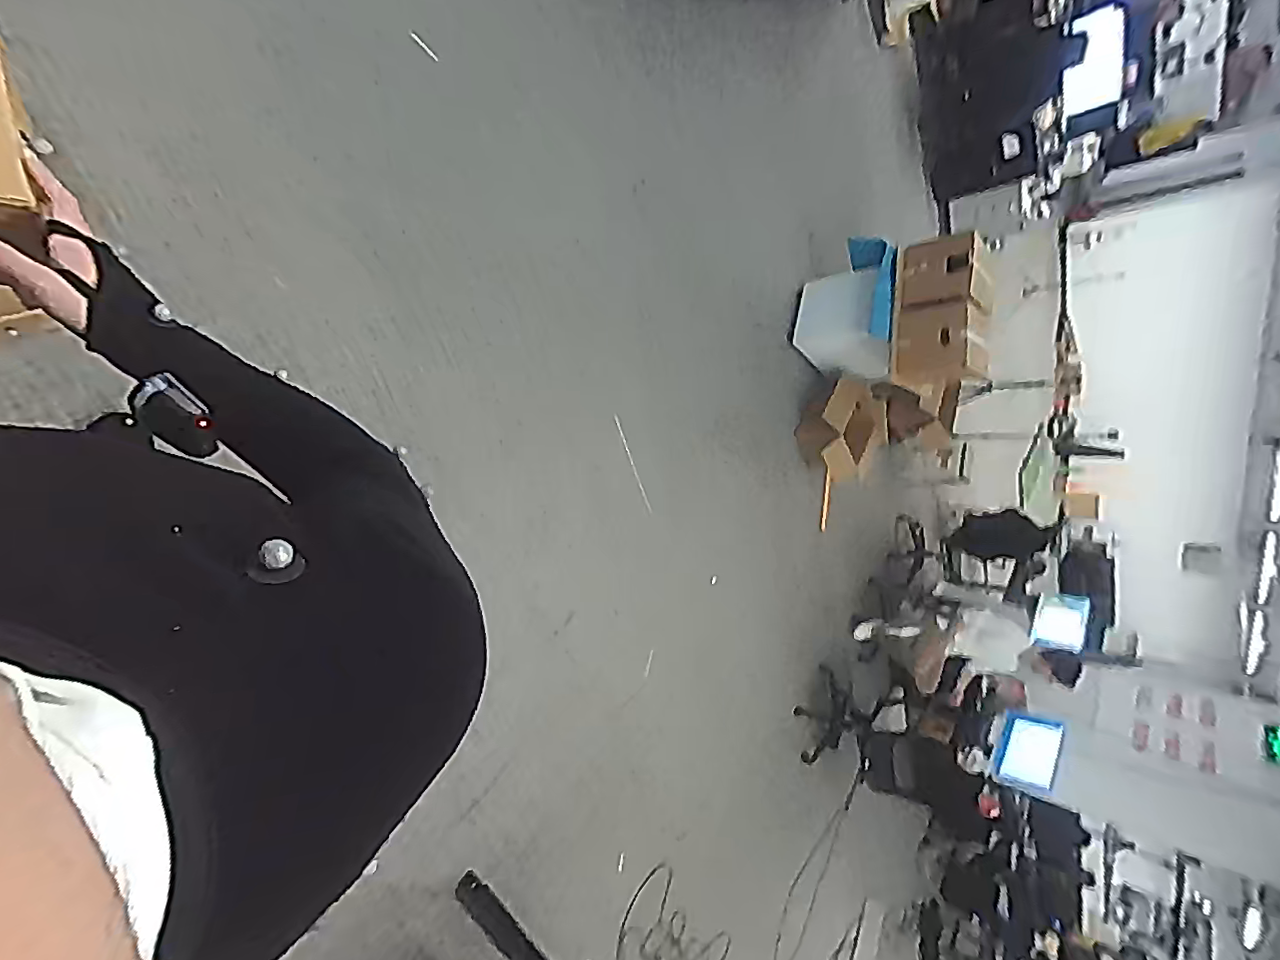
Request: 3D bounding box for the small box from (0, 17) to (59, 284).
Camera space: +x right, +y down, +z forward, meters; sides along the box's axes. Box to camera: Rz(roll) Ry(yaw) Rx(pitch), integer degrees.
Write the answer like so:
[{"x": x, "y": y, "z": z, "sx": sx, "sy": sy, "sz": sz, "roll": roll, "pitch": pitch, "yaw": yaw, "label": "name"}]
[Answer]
[{"x": -0.637, "y": -0.292, "z": 0.461, "sx": 0.168, "sy": 0.176, "sz": 0.179, "roll": -12, "pitch": 90, "yaw": -42, "label": "small box"}]
